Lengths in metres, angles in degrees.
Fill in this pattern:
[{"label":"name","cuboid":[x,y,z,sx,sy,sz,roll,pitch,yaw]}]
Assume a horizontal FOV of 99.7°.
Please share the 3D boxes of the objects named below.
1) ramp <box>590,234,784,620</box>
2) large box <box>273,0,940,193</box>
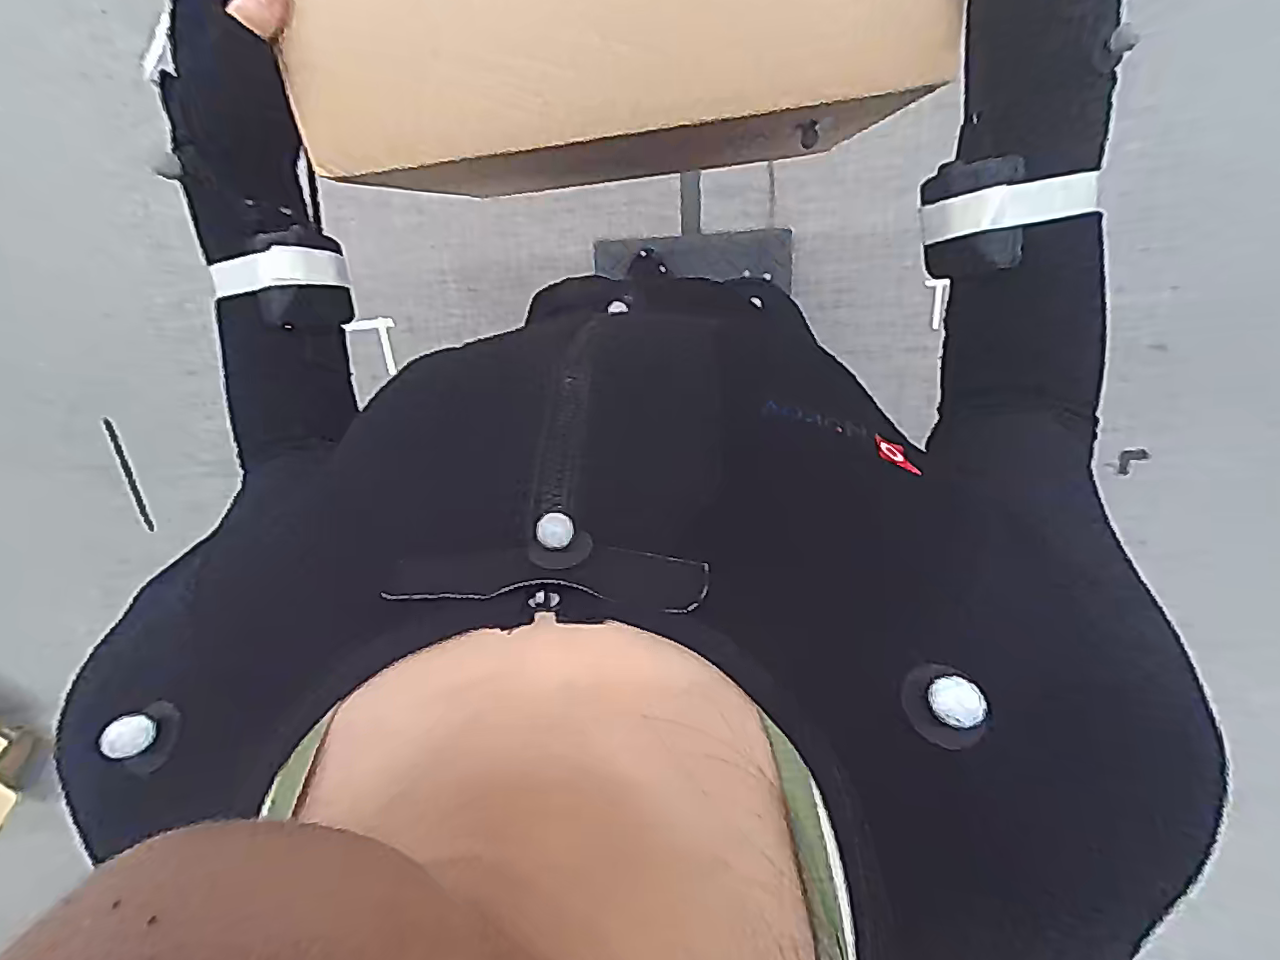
[{"label":"ramp","cuboid":[0.129,-0.108,1.431,0.509,0.206,0.991,-2,108,8]},{"label":"large box","cuboid":[-0.024,-0.427,0.422,0.408,0.320,0.320,-4,114,6]}]
